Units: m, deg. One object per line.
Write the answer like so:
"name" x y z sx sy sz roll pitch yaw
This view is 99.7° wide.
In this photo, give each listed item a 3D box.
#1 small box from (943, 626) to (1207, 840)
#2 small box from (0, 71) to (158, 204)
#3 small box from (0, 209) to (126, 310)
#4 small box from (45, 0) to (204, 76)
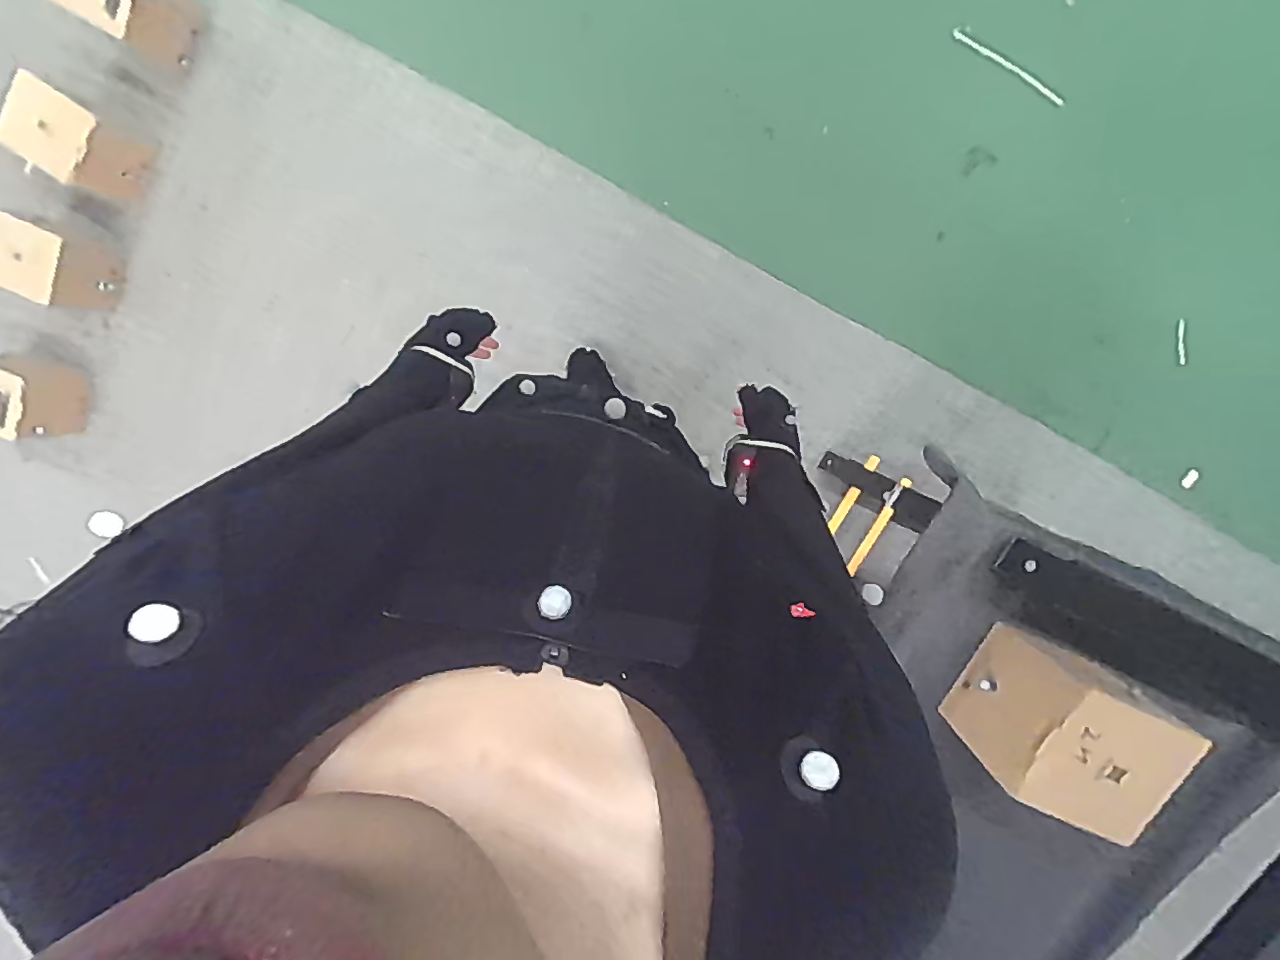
"small box" 0.560 0.323 0.724 0.179 0.176 0.168 25 101 -5
"small box" -1.284 -0.770 1.241 0.179 0.176 0.168 33 100 -7
"small box" -1.406 -0.517 1.294 0.179 0.176 0.168 24 103 -7
"small box" -1.120 -1.038 1.185 0.179 0.176 0.168 29 100 -5
